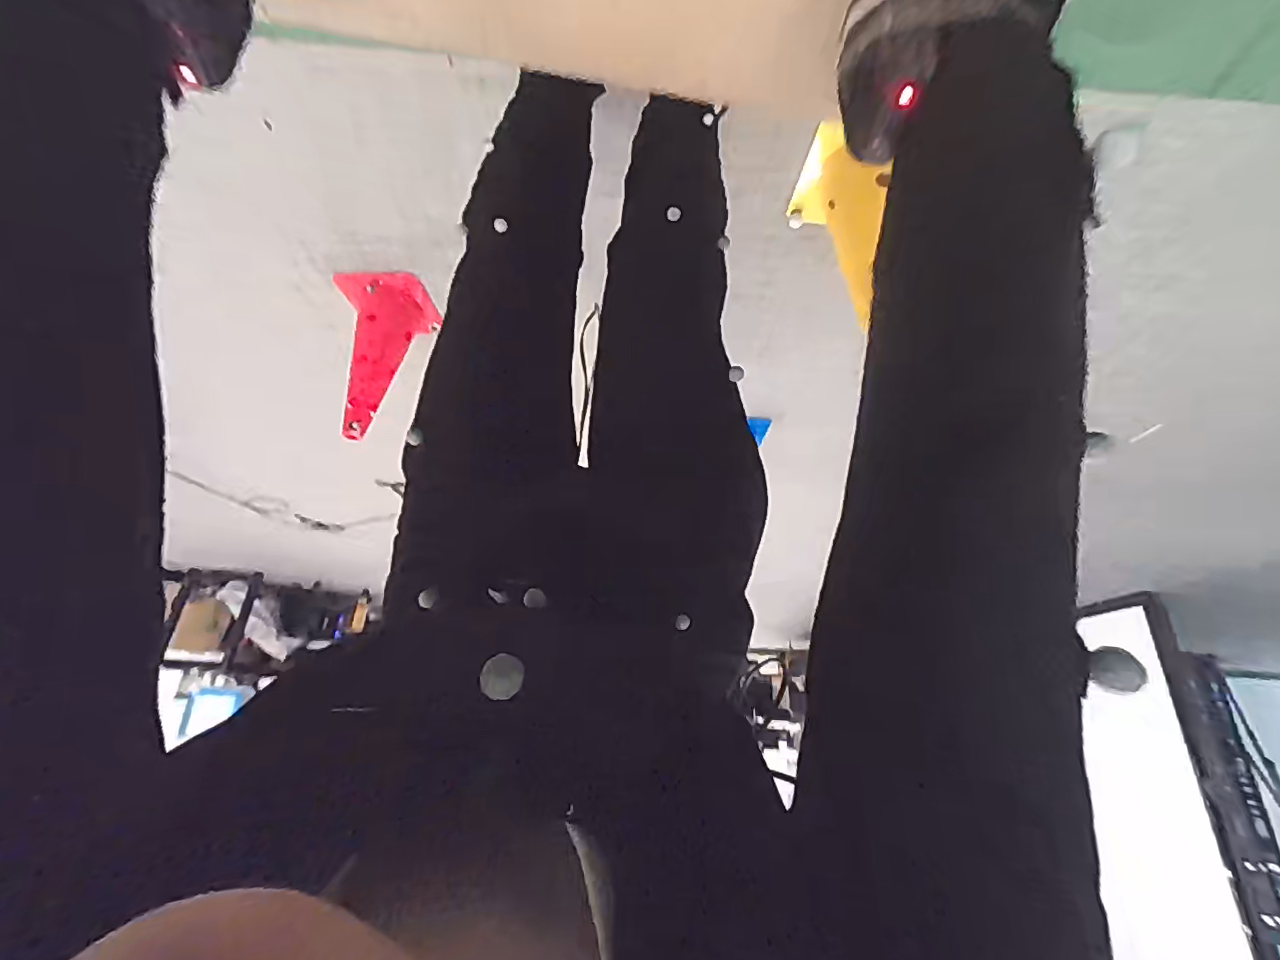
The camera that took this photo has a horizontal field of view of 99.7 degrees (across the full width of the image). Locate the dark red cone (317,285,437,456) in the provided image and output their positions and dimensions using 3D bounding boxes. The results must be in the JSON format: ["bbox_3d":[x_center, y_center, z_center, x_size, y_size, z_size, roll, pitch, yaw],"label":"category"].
[{"bbox_3d":[-0.606,-0.228,1.171,0.202,0.394,0.201,1,152,7],"label":"dark red cone"}]

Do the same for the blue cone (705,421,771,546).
[{"bbox_3d":[0.293,0.014,1.632,0.192,0.380,0.193,4,156,0],"label":"blue cone"}]
